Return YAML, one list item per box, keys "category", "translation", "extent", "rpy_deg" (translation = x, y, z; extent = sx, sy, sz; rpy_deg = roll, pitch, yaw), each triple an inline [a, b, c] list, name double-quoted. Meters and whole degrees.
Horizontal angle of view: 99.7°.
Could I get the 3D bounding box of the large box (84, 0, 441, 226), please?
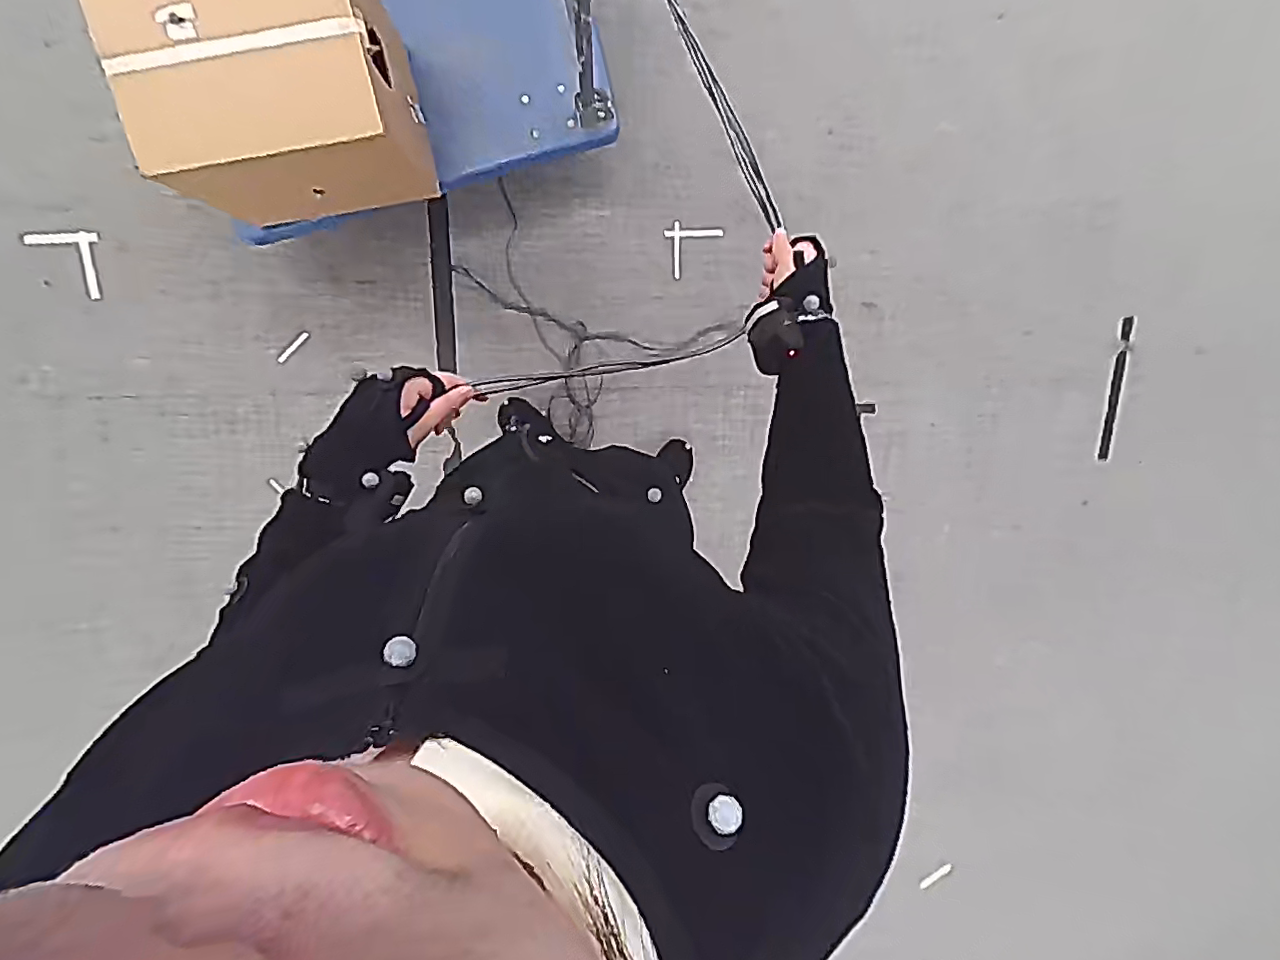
- category: "large box"
  translation: [-0.642, -0.701, 0.994]
  extent: [0.408, 0.320, 0.320]
  rpy_deg: [-11, 100, -1]
